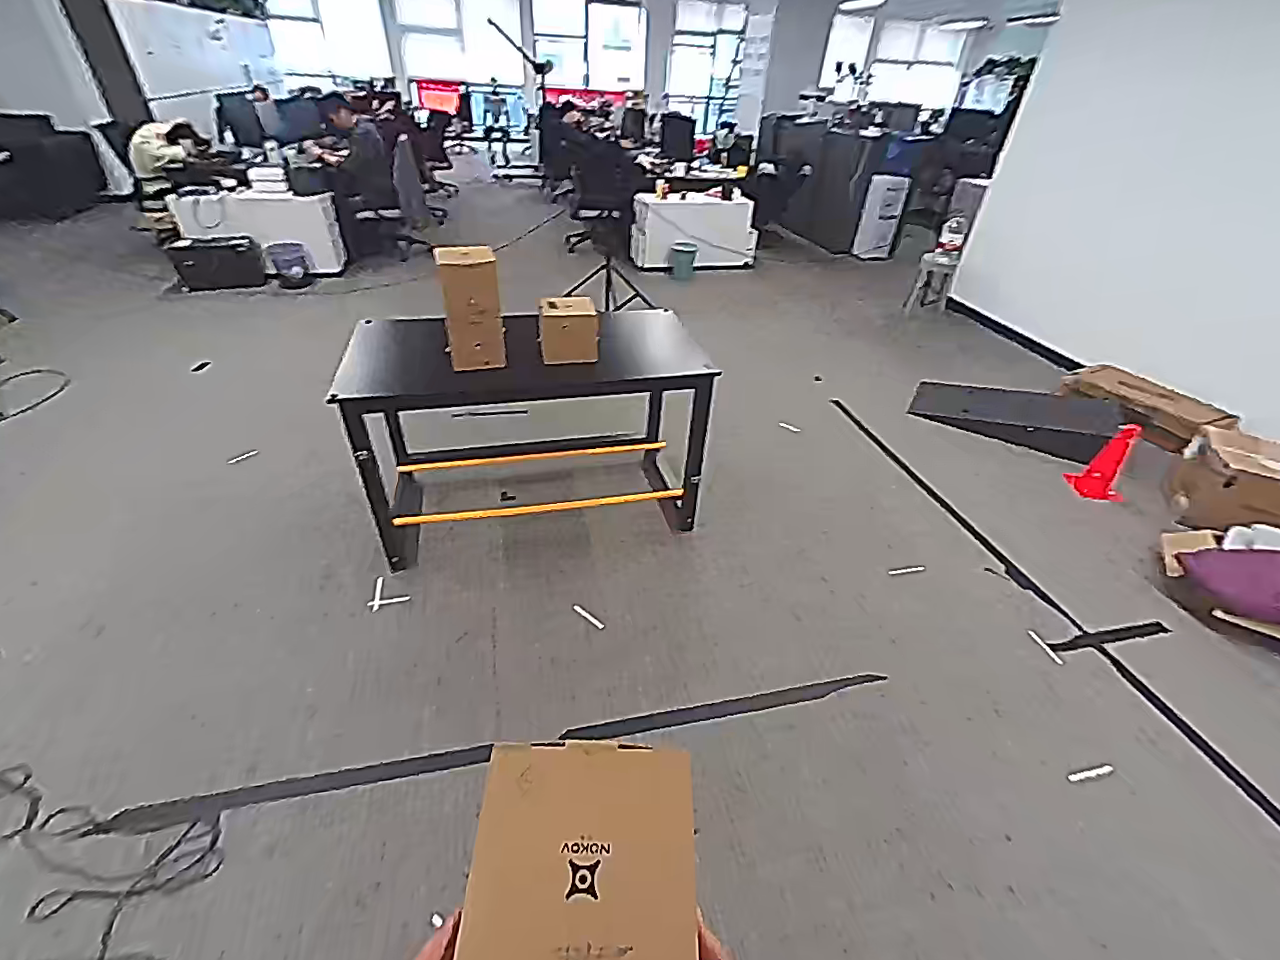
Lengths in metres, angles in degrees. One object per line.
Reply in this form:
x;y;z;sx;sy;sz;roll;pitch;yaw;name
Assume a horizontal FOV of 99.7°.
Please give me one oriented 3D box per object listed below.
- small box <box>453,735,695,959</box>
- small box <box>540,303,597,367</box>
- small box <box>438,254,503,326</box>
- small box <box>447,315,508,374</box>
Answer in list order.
-0.047;0.336;0.458;0.168;0.176;0.179;2;48;-1;small box
-0.242;-0.491;1.839;0.179;0.176;0.168;-5;37;-12;small box
-0.525;-0.591;1.678;0.168;0.176;0.179;-10;39;-17;small box
-0.532;-0.456;1.774;0.168;0.176;0.179;-9;39;-16;small box
